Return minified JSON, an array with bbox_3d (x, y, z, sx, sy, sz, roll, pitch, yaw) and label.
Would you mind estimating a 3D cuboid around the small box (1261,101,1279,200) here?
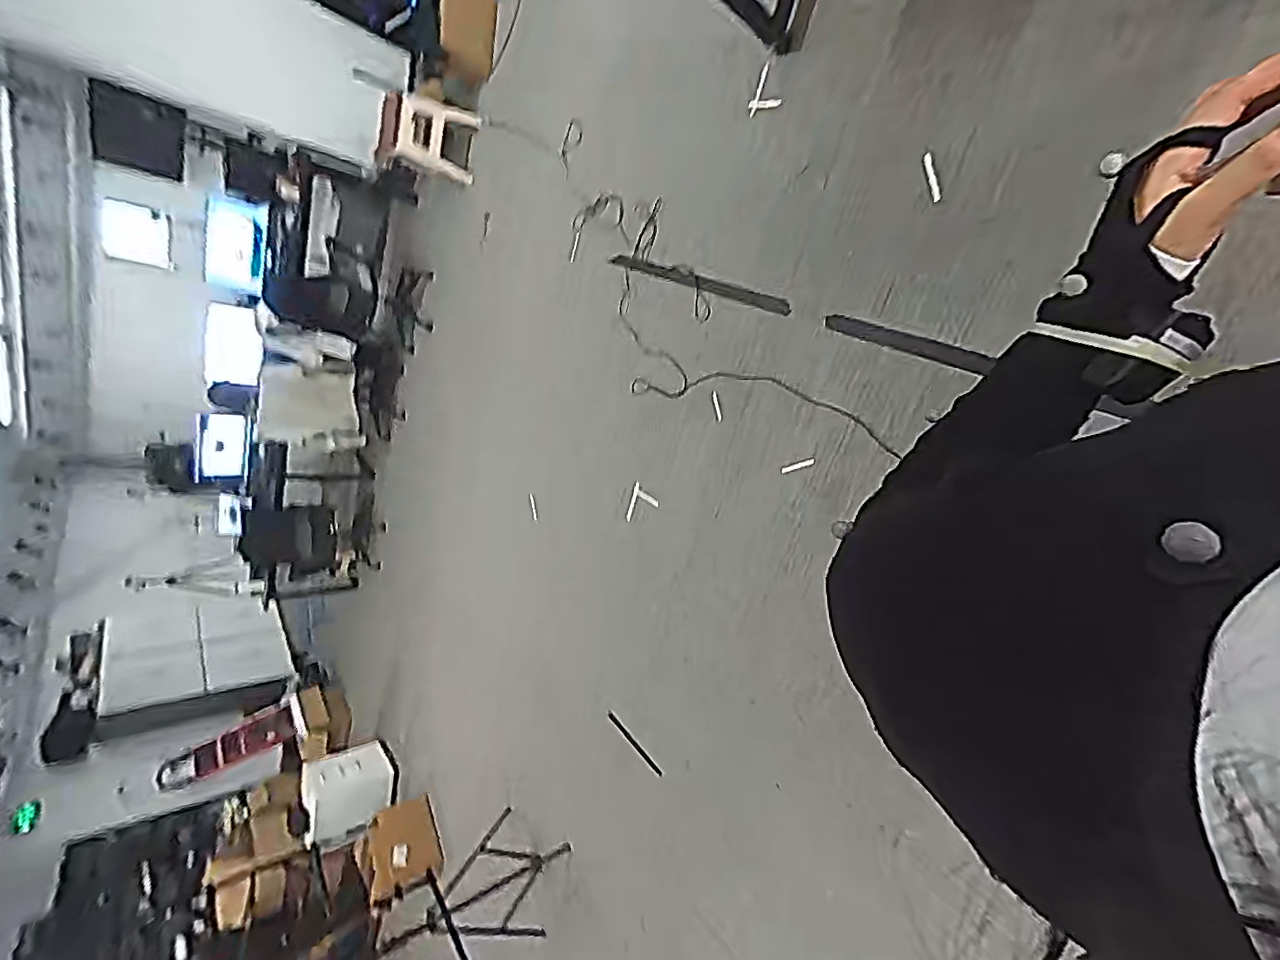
[{"bbox_3d":[0.460,-0.258,0.267,0.168,0.176,0.179,19,111,42],"label":"small box"}]
